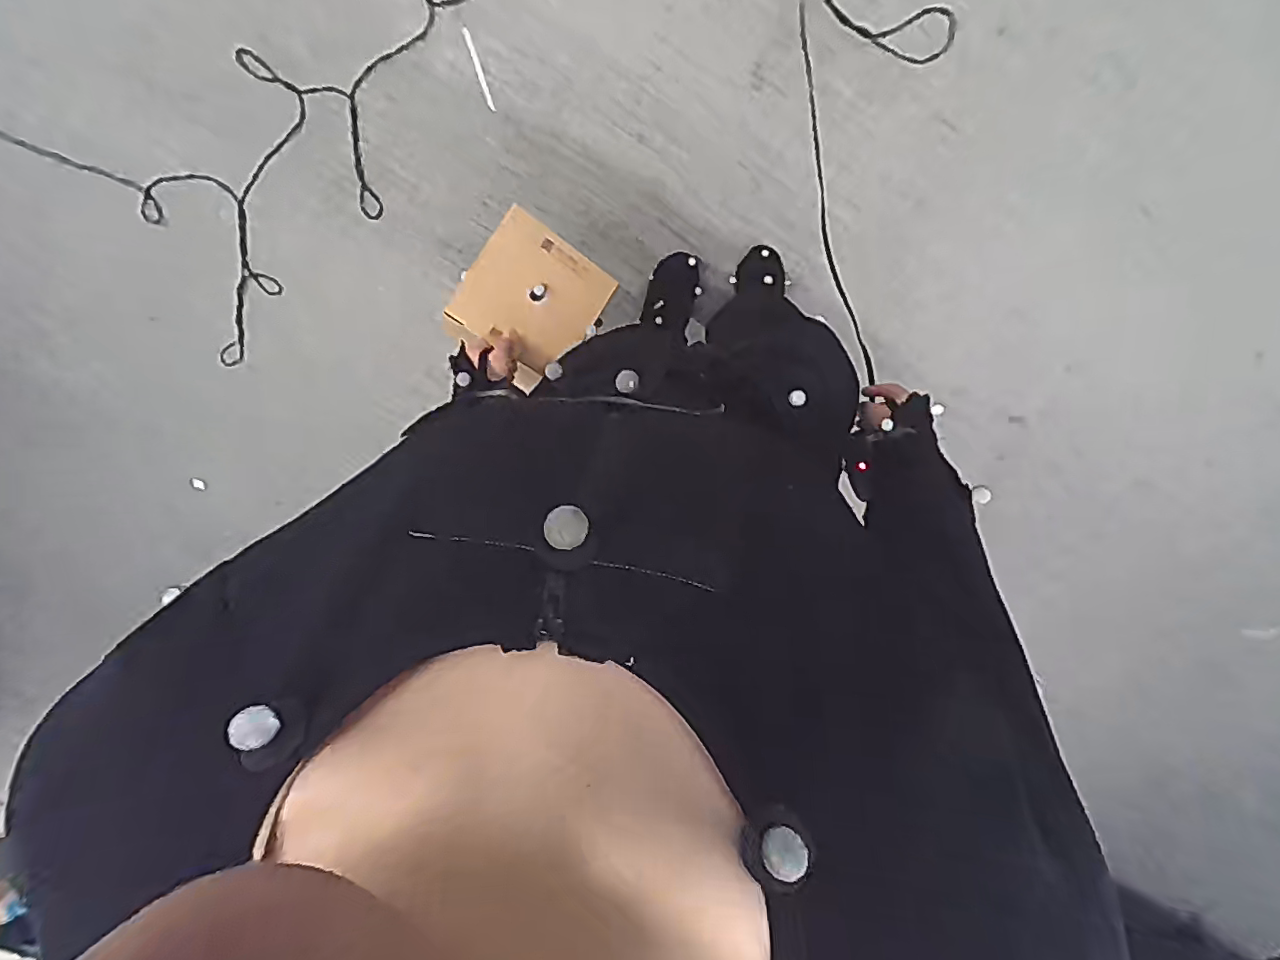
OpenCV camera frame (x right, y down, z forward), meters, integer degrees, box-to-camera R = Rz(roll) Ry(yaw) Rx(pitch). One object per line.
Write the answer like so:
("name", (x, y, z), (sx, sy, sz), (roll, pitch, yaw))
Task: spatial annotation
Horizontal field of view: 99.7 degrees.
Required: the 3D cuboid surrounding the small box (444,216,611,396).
("small box", (-0.163, -0.241, 0.779), (0.168, 0.179, 0.176), (34, 84, -18))
